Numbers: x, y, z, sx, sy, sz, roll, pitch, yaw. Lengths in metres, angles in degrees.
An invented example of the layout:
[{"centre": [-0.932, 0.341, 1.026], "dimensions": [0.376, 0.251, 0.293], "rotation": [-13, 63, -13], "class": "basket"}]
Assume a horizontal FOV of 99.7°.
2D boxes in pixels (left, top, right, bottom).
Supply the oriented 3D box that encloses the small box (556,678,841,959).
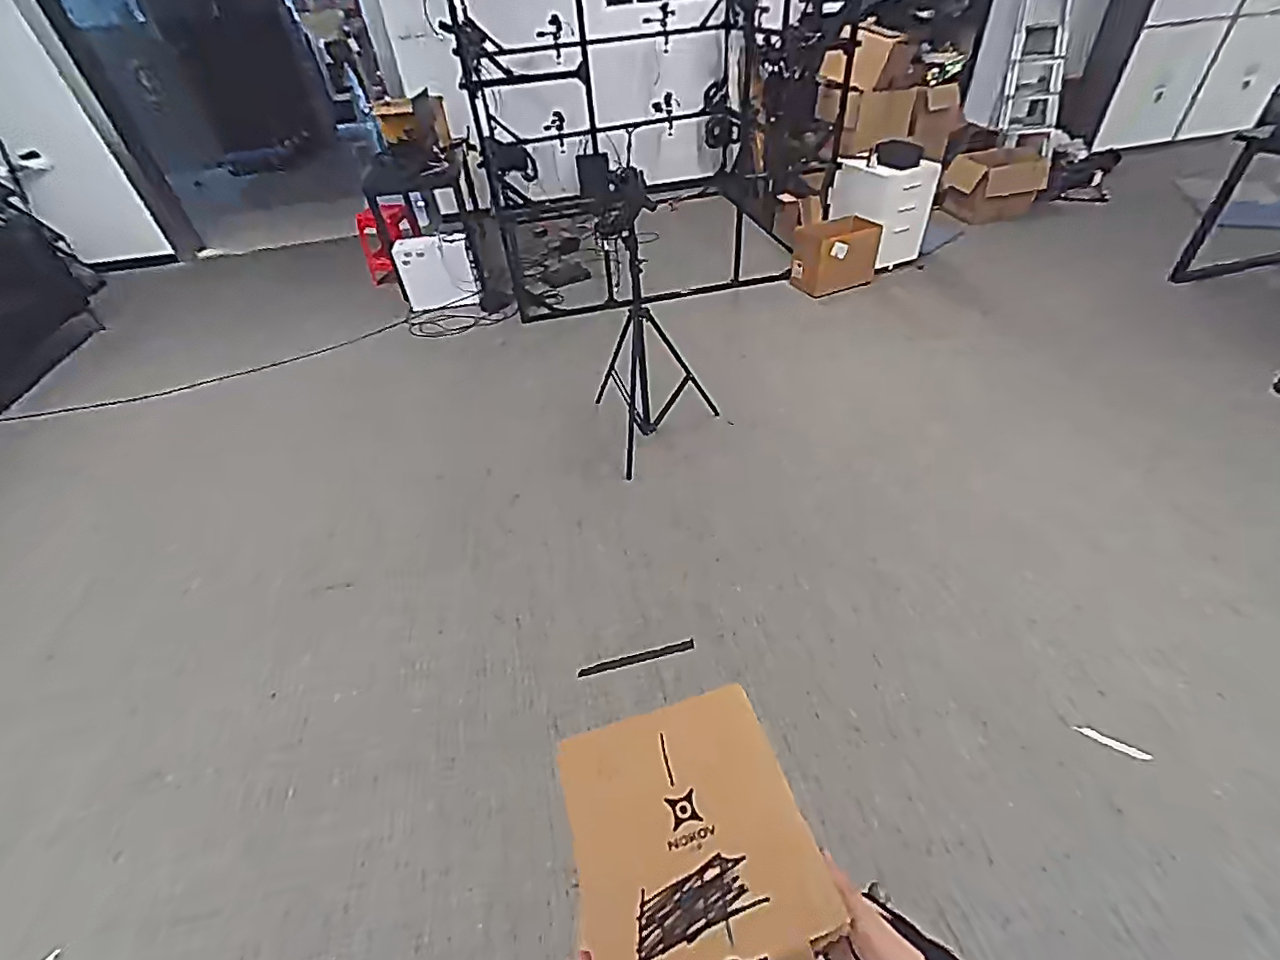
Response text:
[{"centre": [0.038, 0.304, 0.450], "dimensions": [0.168, 0.176, 0.179], "rotation": [-15, 43, -9], "class": "small box"}]
